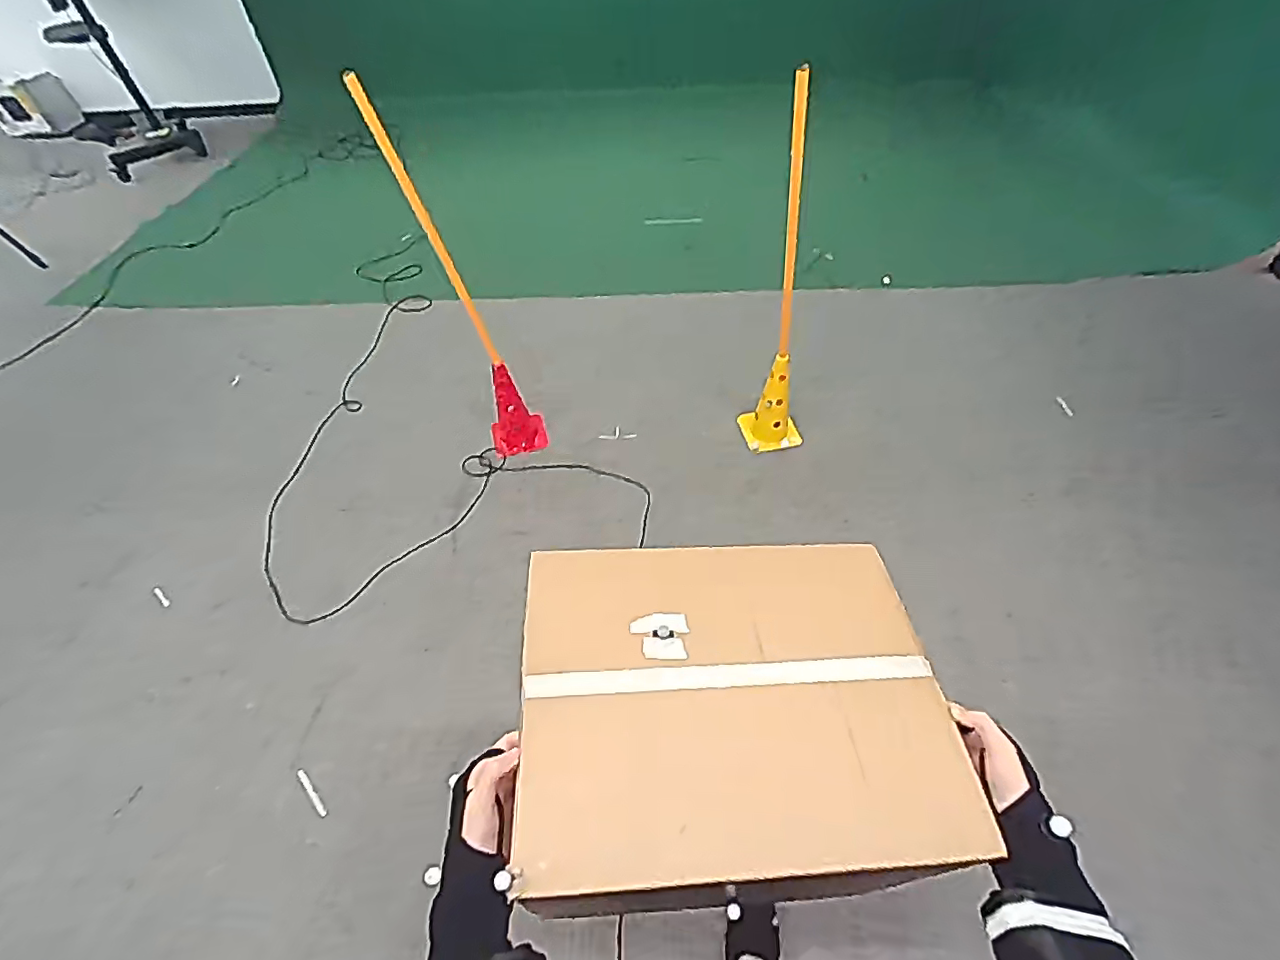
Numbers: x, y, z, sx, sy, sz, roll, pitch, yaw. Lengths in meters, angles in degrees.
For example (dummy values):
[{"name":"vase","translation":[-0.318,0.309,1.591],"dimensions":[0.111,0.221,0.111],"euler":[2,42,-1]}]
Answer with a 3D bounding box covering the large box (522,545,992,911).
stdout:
[{"name":"large box","translation":[0.087,0.298,0.648],"dimensions":[0.408,0.320,0.320],"euler":[-2,48,-5]}]
